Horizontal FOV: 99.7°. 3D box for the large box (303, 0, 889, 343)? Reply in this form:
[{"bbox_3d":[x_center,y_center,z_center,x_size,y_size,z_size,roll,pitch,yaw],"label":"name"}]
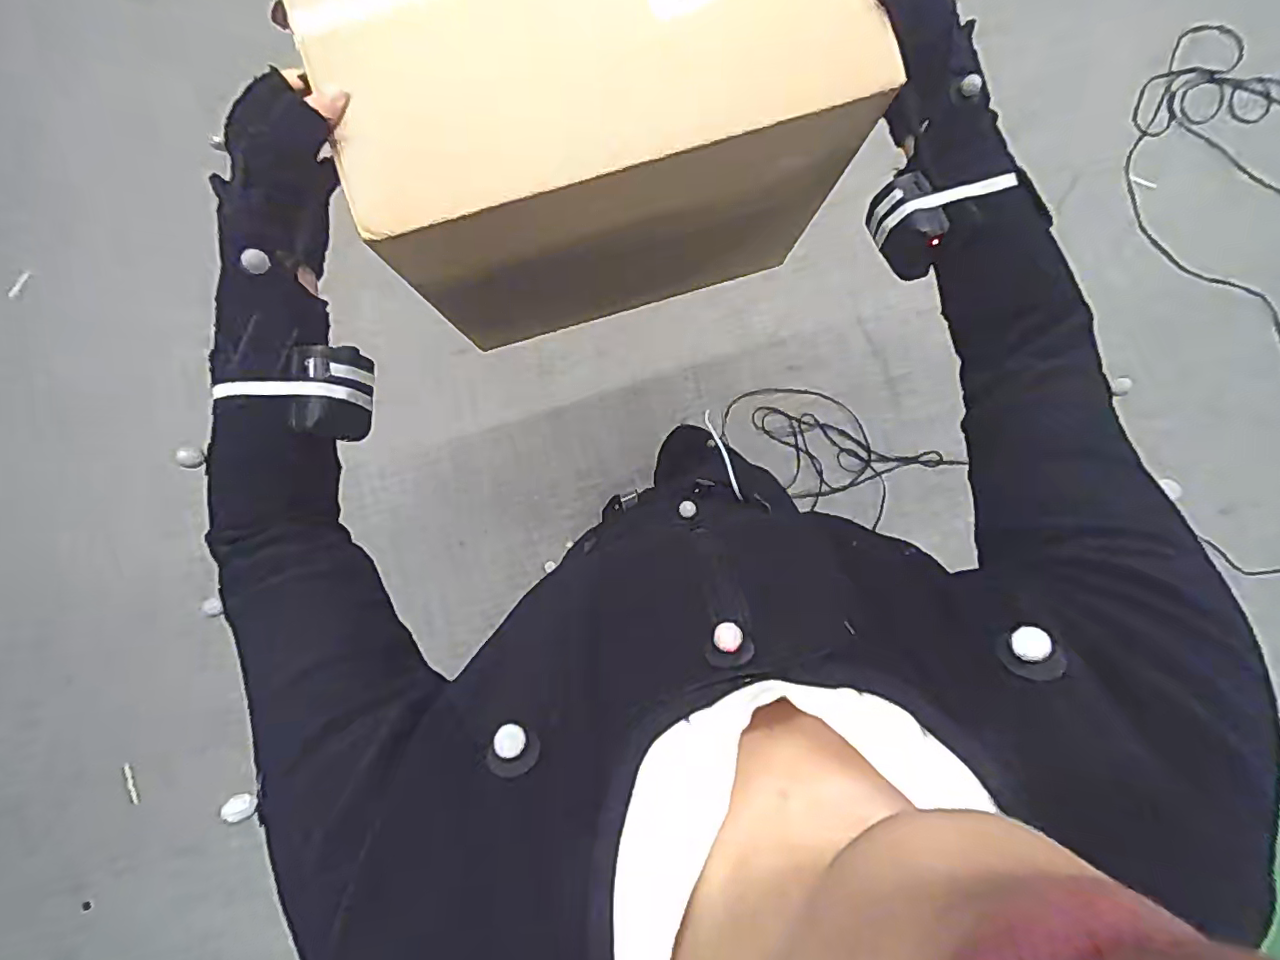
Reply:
[{"bbox_3d":[-0.052,-0.377,0.544,0.408,0.320,0.320,-17,90,-2],"label":"large box"}]
